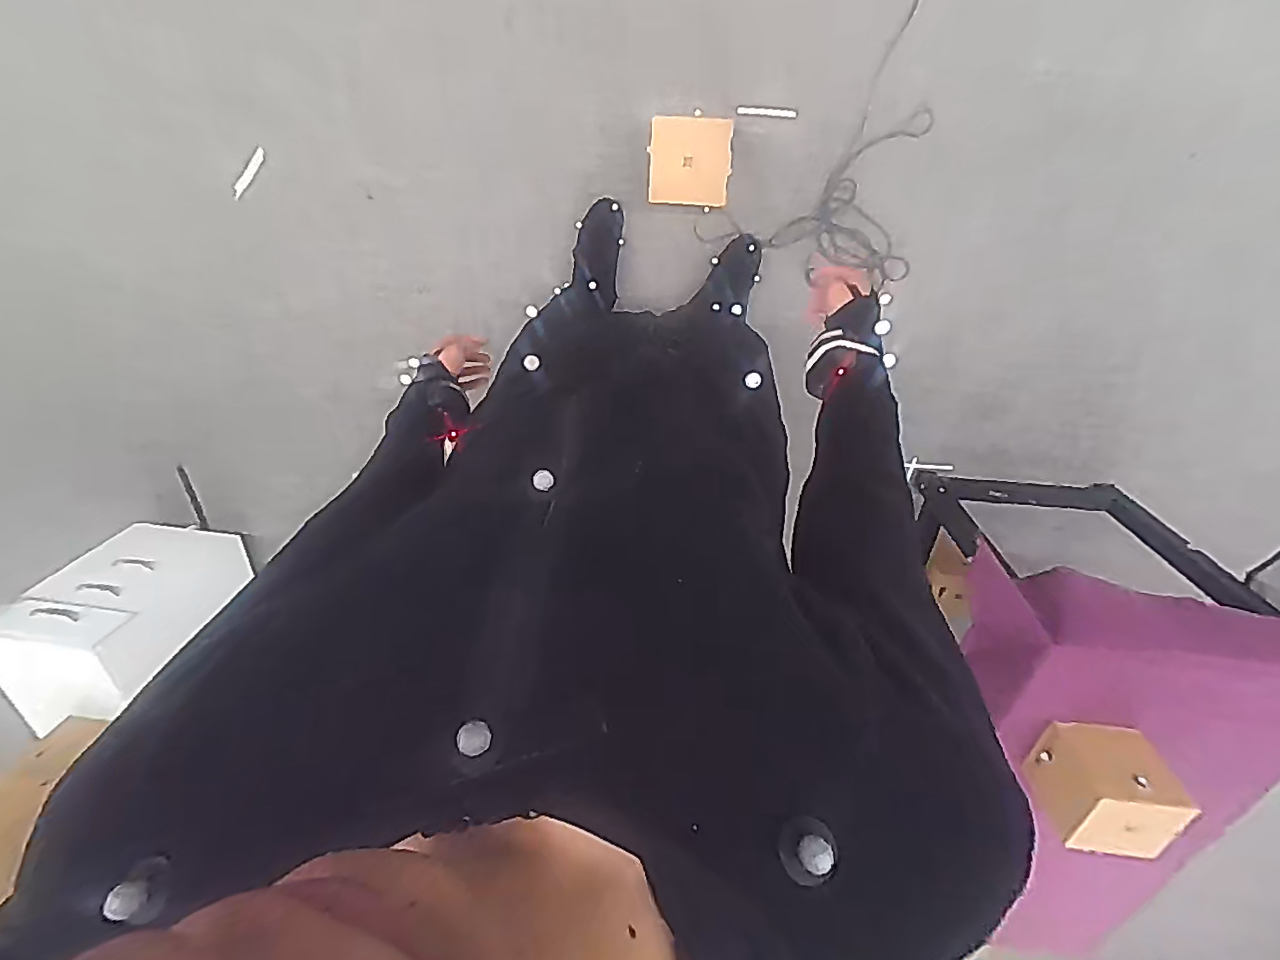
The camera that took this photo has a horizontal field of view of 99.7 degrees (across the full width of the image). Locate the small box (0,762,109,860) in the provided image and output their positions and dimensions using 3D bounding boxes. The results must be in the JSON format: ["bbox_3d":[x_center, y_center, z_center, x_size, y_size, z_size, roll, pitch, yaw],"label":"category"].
[{"bbox_3d":[-1.678,0.925,1.522,0.168,0.176,0.179,7,121,4],"label":"small box"}]

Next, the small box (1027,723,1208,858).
[{"bbox_3d":[0.925,0.608,1.070,0.179,0.176,0.168,6,120,3],"label":"small box"}]

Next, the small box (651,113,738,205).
[{"bbox_3d":[0.121,-0.726,1.230,0.179,0.176,0.168,4,120,3],"label":"small box"}]
